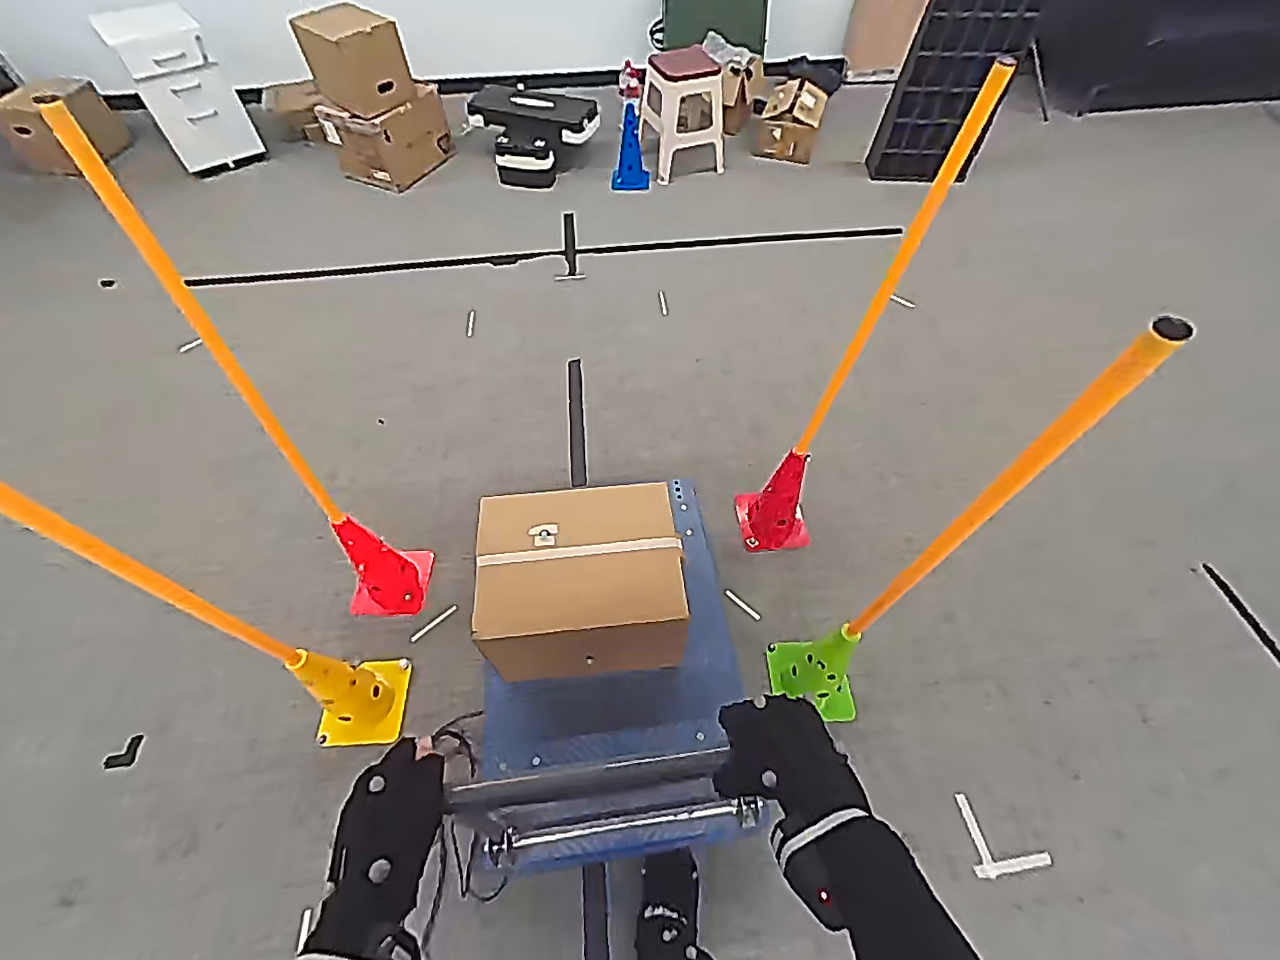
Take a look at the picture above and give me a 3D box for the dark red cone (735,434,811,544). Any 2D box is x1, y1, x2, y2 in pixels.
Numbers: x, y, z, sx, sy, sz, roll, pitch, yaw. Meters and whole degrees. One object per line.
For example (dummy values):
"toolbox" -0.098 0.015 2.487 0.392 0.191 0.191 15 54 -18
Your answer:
"dark red cone" 0.407 0.013 1.526 0.201 0.394 0.202 -4 55 -5

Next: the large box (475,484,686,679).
"large box" -0.123 0.236 1.216 0.408 0.320 0.320 -5 55 -3

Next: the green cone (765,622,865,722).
"green cone" 0.437 0.419 1.261 0.202 0.368 0.200 -1 55 -2

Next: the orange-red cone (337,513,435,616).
"orange-red cone" -0.708 0.194 1.428 0.198 0.360 0.199 2 54 0
